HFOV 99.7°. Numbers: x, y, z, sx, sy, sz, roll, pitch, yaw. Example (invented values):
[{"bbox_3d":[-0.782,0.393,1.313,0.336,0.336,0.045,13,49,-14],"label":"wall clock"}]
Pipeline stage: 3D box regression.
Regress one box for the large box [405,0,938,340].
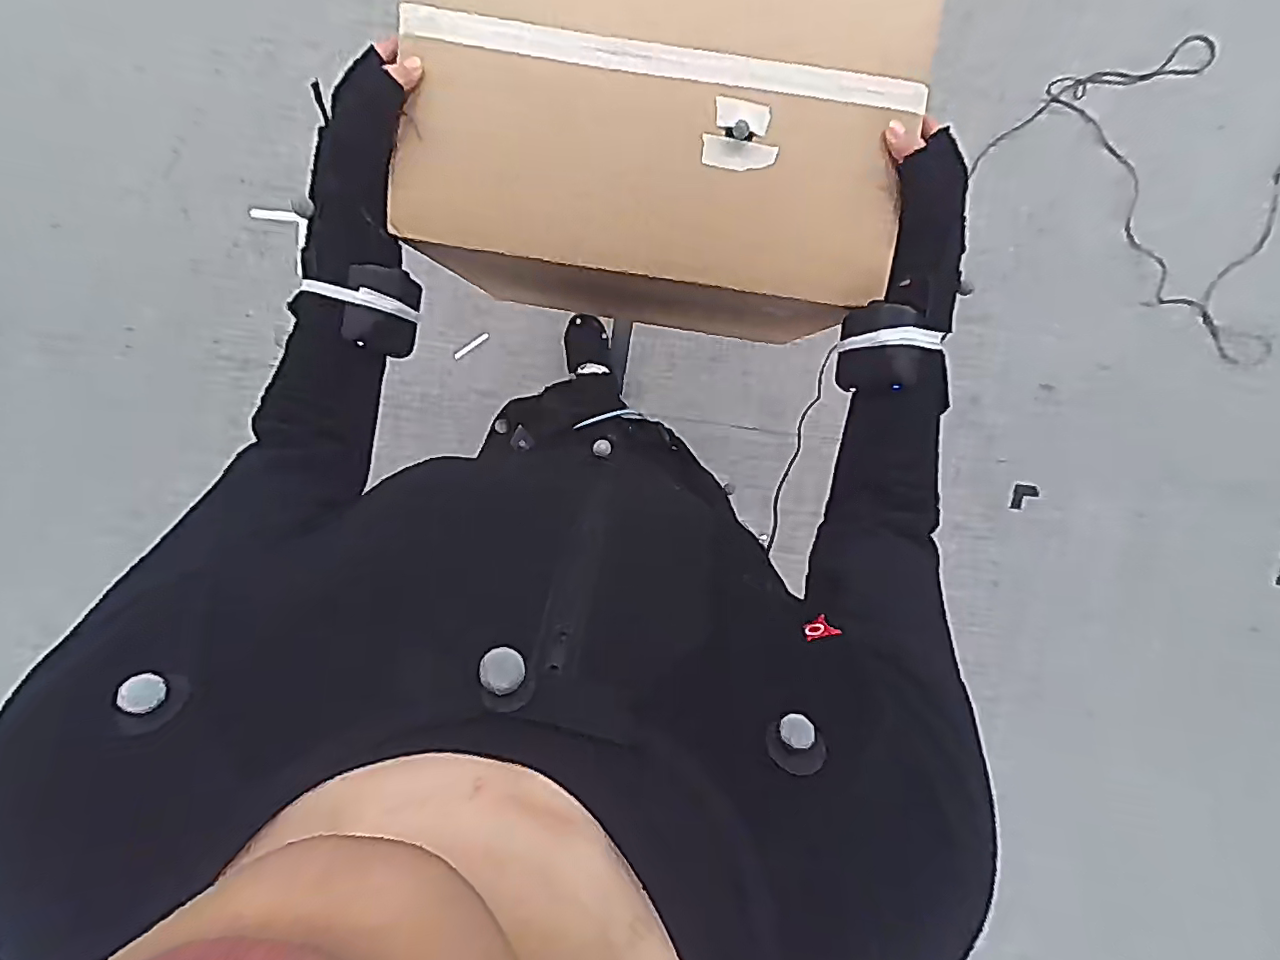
[{"bbox_3d":[0.021,-0.343,0.571,0.408,0.320,0.320,8,100,-1],"label":"large box"}]
